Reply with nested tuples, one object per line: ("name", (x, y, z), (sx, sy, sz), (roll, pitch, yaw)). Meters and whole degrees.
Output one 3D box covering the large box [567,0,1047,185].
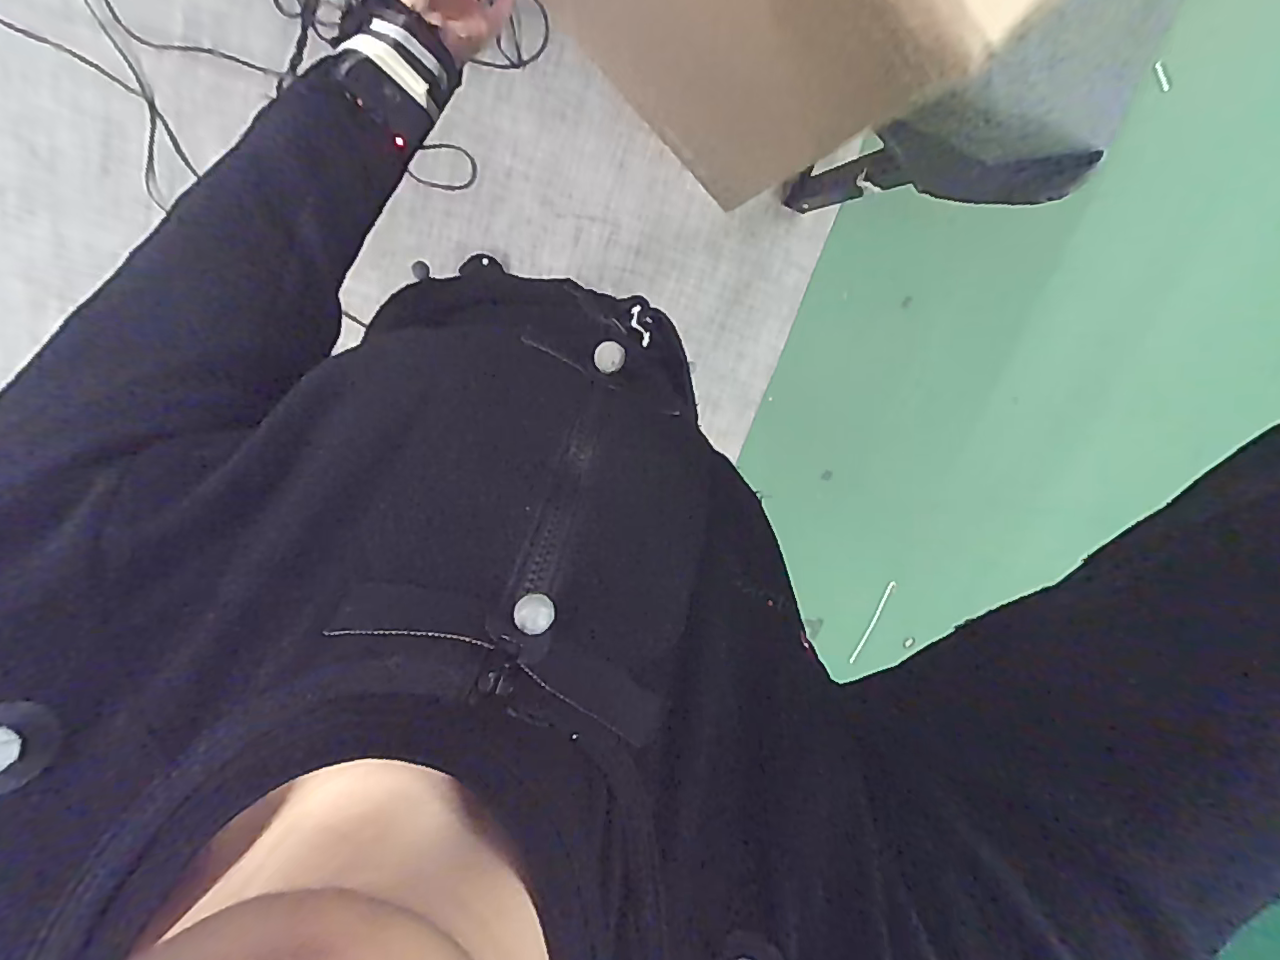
("large box", (0.075, -0.382, 0.230), (0.320, 0.408, 0.320), (41, 108, -16))
